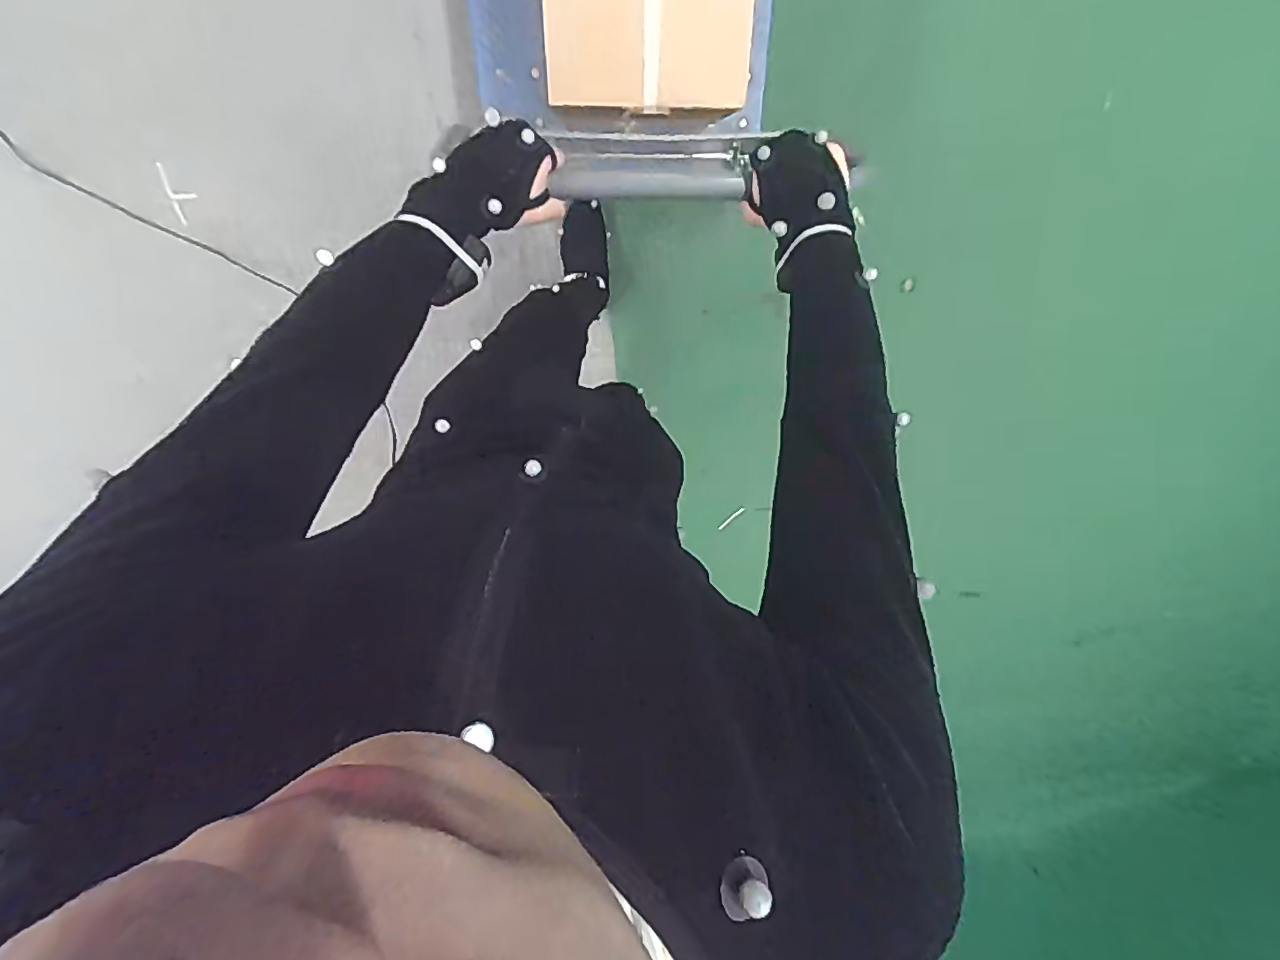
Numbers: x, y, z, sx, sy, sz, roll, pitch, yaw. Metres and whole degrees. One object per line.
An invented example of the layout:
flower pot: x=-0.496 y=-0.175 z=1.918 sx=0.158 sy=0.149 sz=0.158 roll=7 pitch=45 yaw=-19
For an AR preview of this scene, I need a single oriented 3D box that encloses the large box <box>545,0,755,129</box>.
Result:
large box: x=0.006 y=-0.833 z=0.891 sx=0.320 sy=0.320 sz=0.408 roll=-2 pitch=118 yaw=-5
